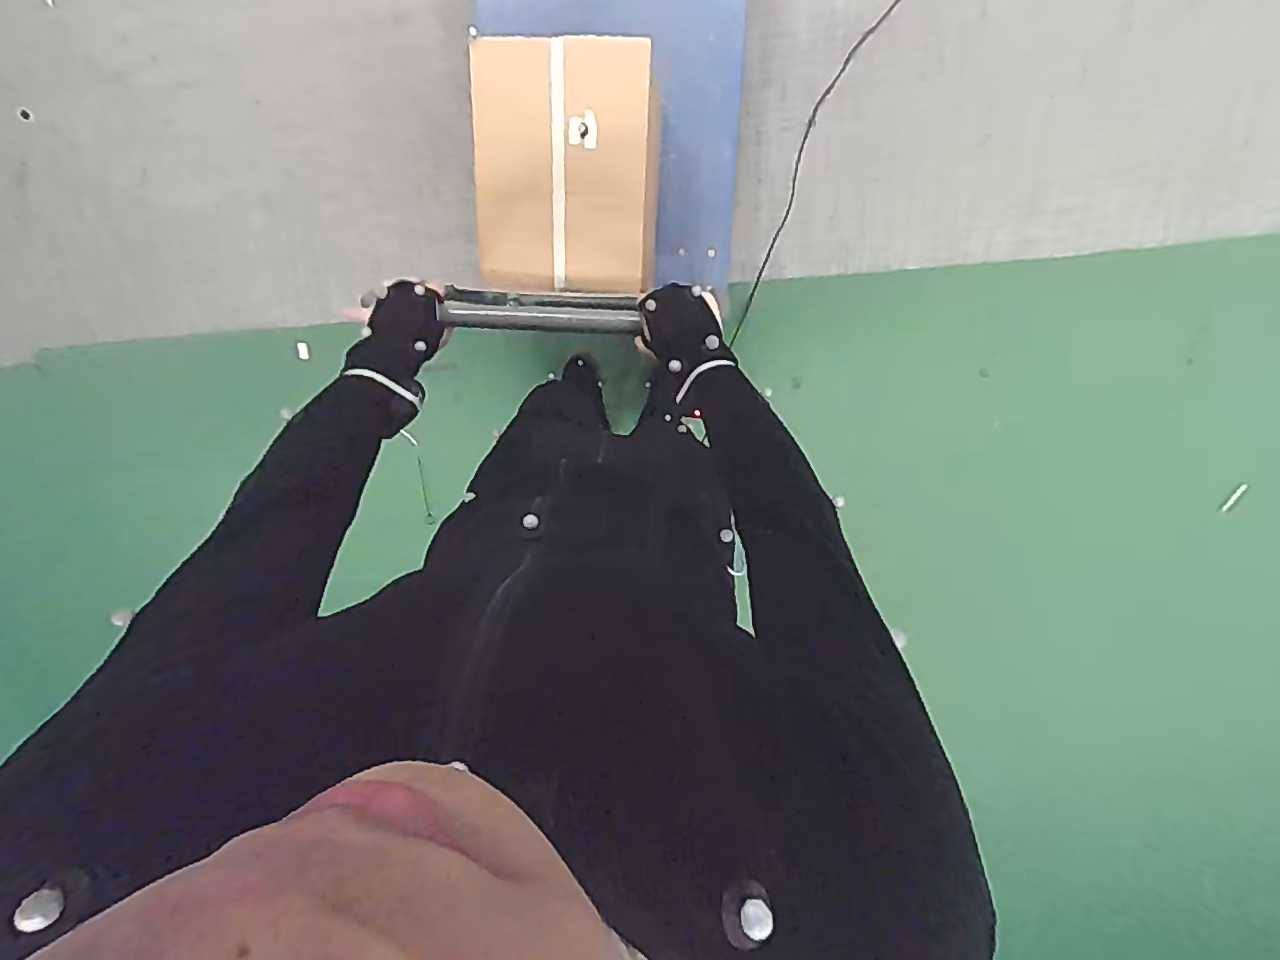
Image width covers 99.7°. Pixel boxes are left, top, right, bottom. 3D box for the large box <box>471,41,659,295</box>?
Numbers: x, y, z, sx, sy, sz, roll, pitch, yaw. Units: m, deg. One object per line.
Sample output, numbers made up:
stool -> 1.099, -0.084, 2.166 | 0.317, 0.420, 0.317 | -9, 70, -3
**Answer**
large box -> -0.130, -0.597, 1.115 | 0.320, 0.320, 0.408 | 4, 108, 4
